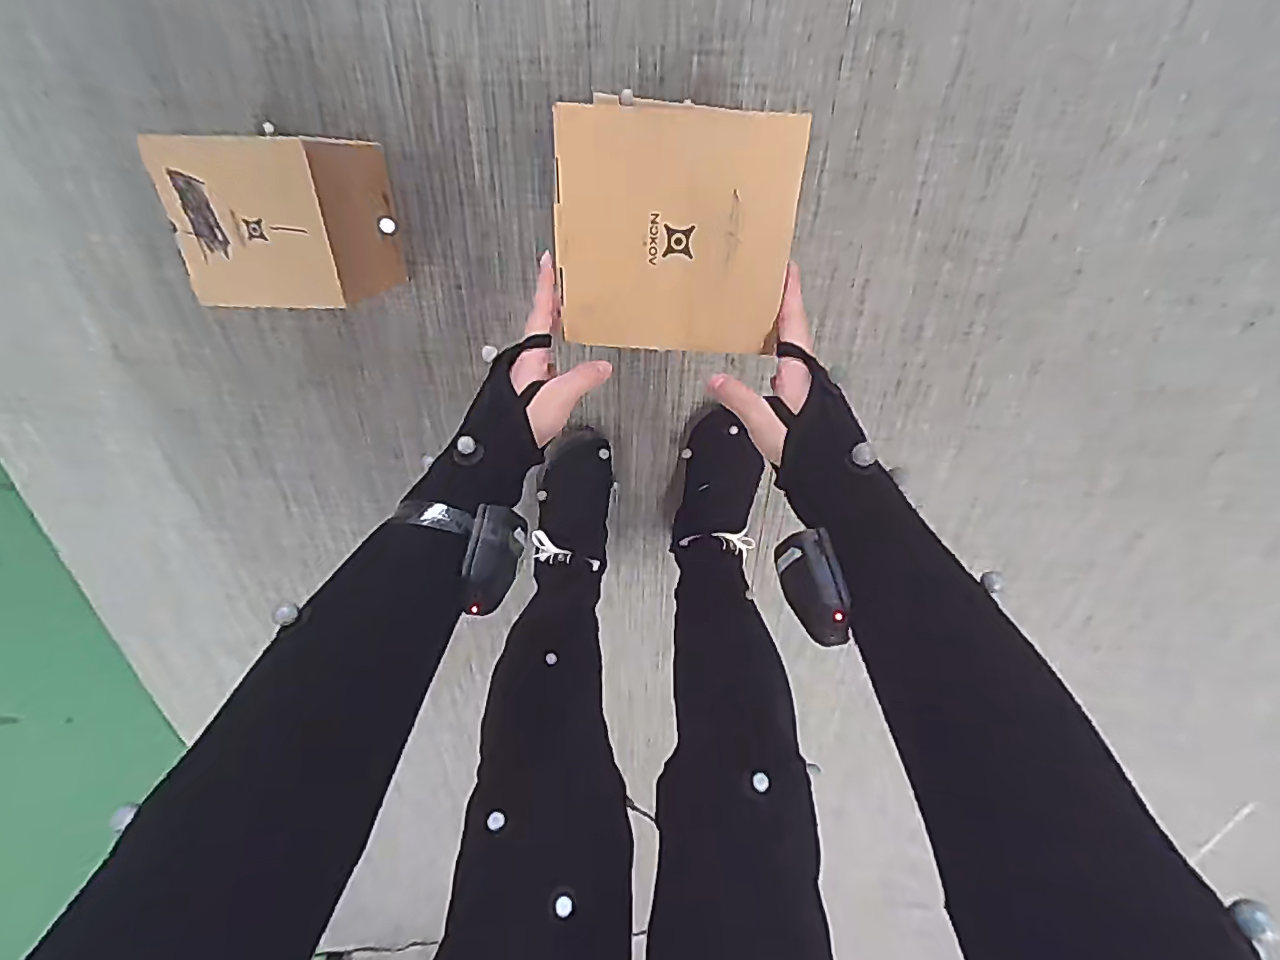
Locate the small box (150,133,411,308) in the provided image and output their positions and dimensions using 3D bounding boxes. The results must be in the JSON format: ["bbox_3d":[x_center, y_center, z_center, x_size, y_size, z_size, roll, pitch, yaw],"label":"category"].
[{"bbox_3d":[-0.405,-0.310,0.647,0.179,0.176,0.168,2,120,2],"label":"small box"}]

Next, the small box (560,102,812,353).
[{"bbox_3d":[0.032,-0.222,0.479,0.179,0.176,0.168,4,120,1],"label":"small box"}]
